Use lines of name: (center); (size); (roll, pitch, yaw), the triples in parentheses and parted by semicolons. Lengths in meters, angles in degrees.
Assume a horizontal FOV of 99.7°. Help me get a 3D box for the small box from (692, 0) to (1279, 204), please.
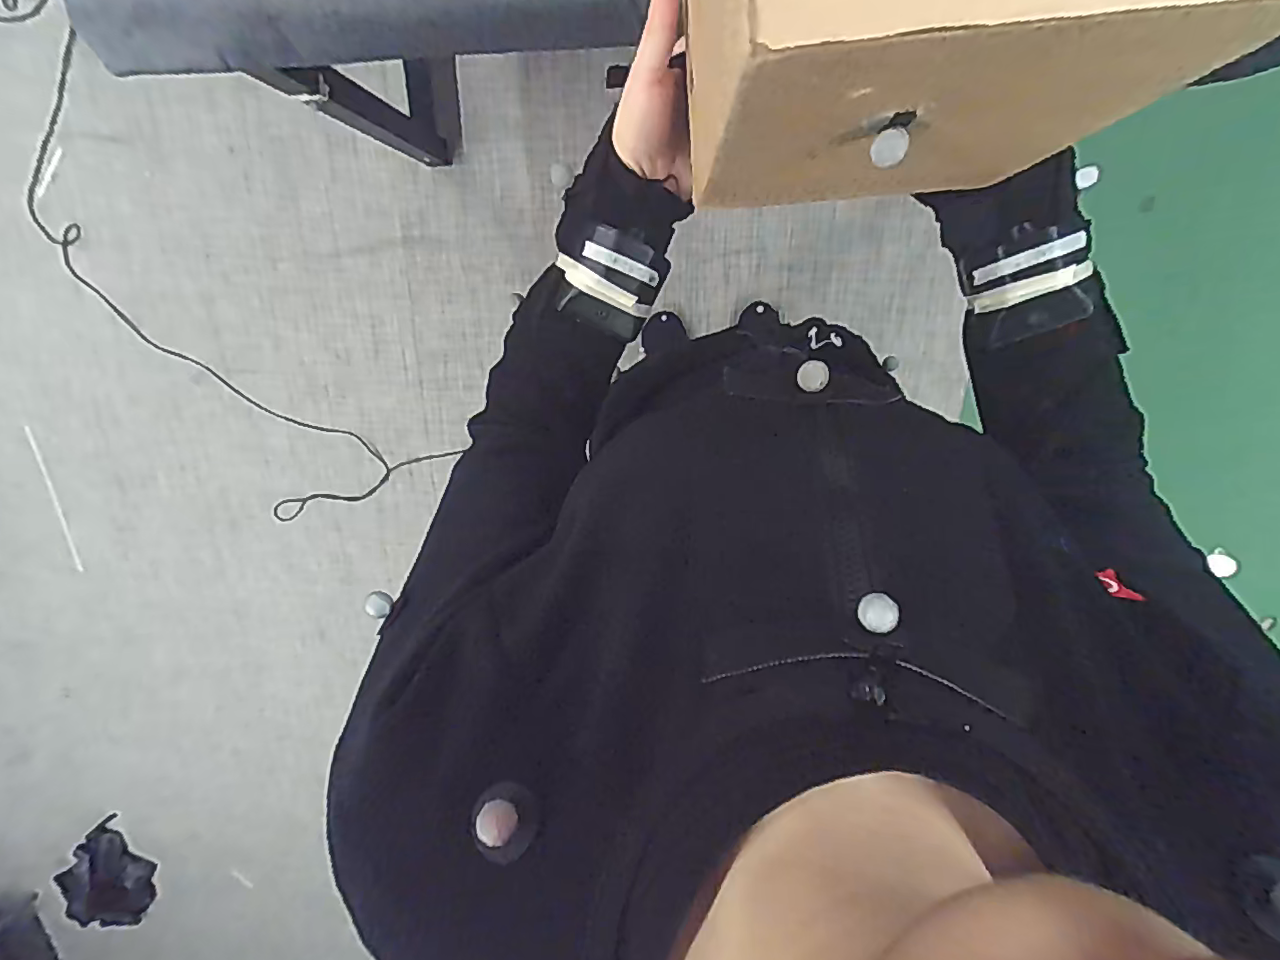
small box: (0.112, -0.226, 0.217); (0.179, 0.176, 0.168); (-5, 102, 2)
